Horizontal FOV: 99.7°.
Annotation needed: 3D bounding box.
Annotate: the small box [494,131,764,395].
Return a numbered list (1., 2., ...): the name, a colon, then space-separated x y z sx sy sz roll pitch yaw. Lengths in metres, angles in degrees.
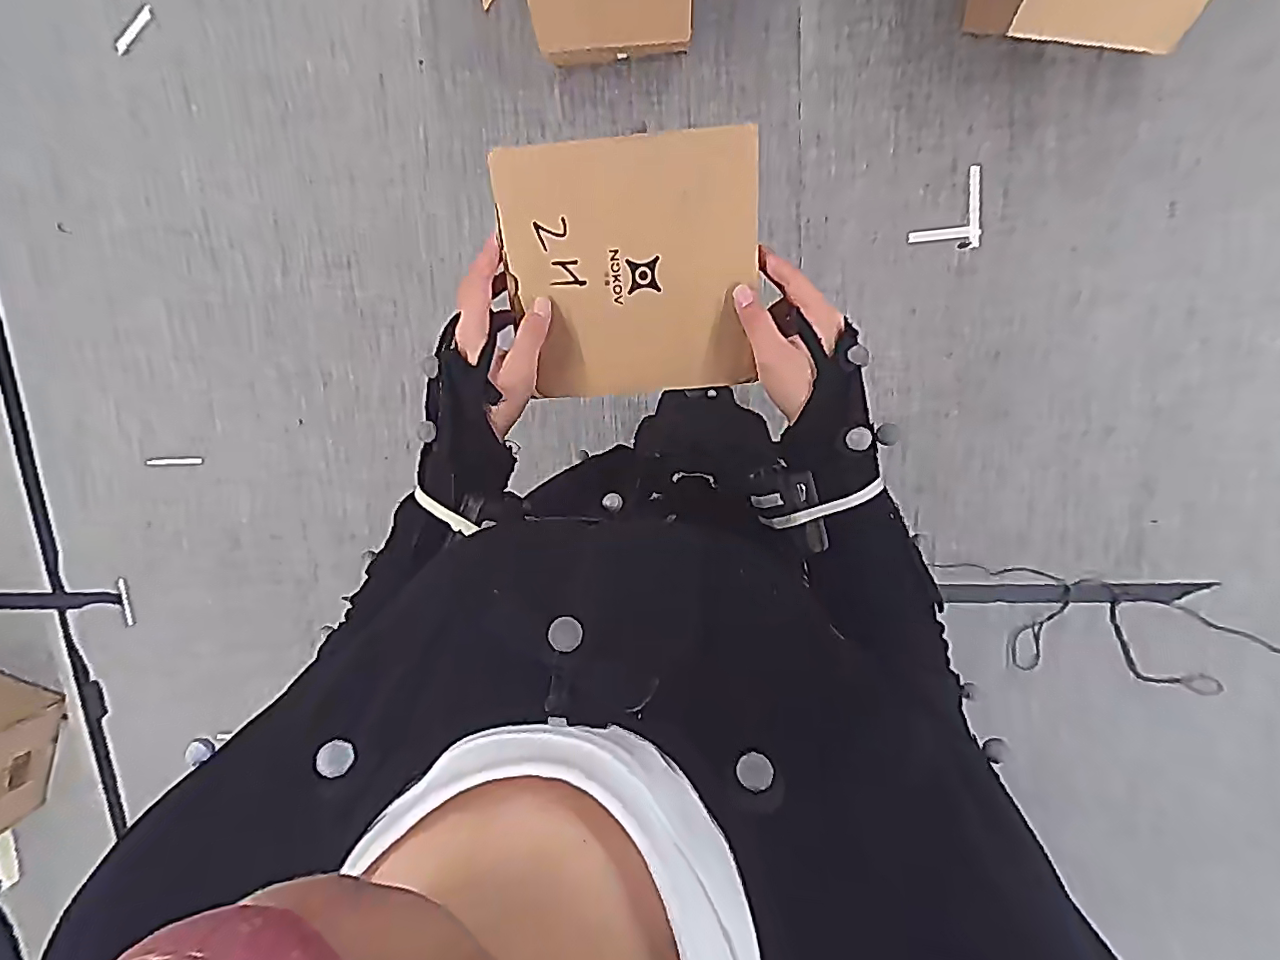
1. small box: -0.002 -0.175 0.448 0.179 0.176 0.168 -3 113 3
